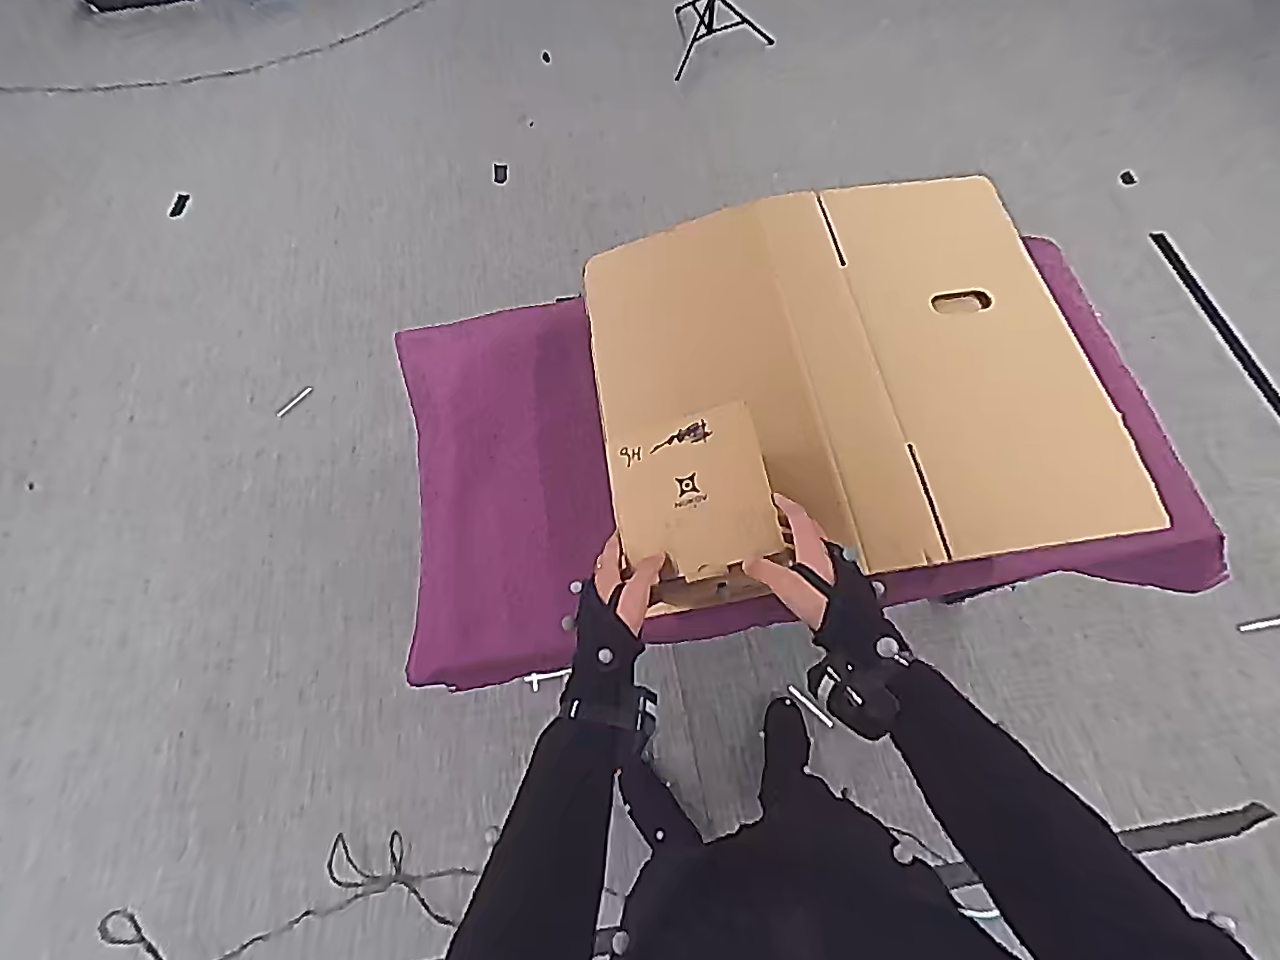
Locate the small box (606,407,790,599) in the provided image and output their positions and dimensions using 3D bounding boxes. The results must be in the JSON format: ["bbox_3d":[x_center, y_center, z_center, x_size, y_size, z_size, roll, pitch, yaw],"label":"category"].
[{"bbox_3d":[0.075,0.041,0.649,0.168,0.176,0.179,-16,69,13],"label":"small box"}]
